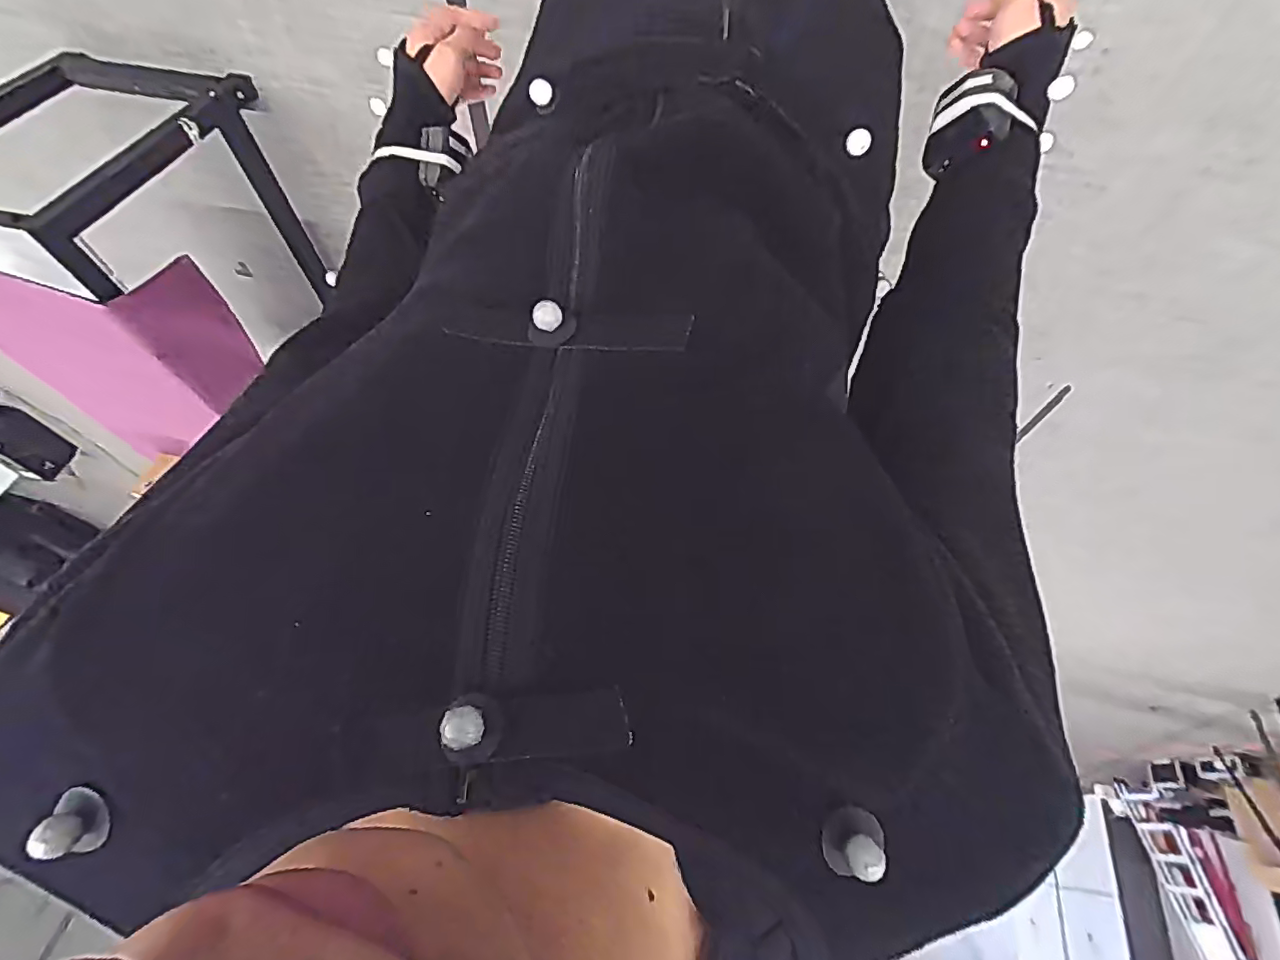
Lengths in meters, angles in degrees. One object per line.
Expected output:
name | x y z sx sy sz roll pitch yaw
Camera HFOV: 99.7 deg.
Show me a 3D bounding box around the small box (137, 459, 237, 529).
small box | -1.602 0.047 1.925 0.179 0.176 0.168 13 149 4
